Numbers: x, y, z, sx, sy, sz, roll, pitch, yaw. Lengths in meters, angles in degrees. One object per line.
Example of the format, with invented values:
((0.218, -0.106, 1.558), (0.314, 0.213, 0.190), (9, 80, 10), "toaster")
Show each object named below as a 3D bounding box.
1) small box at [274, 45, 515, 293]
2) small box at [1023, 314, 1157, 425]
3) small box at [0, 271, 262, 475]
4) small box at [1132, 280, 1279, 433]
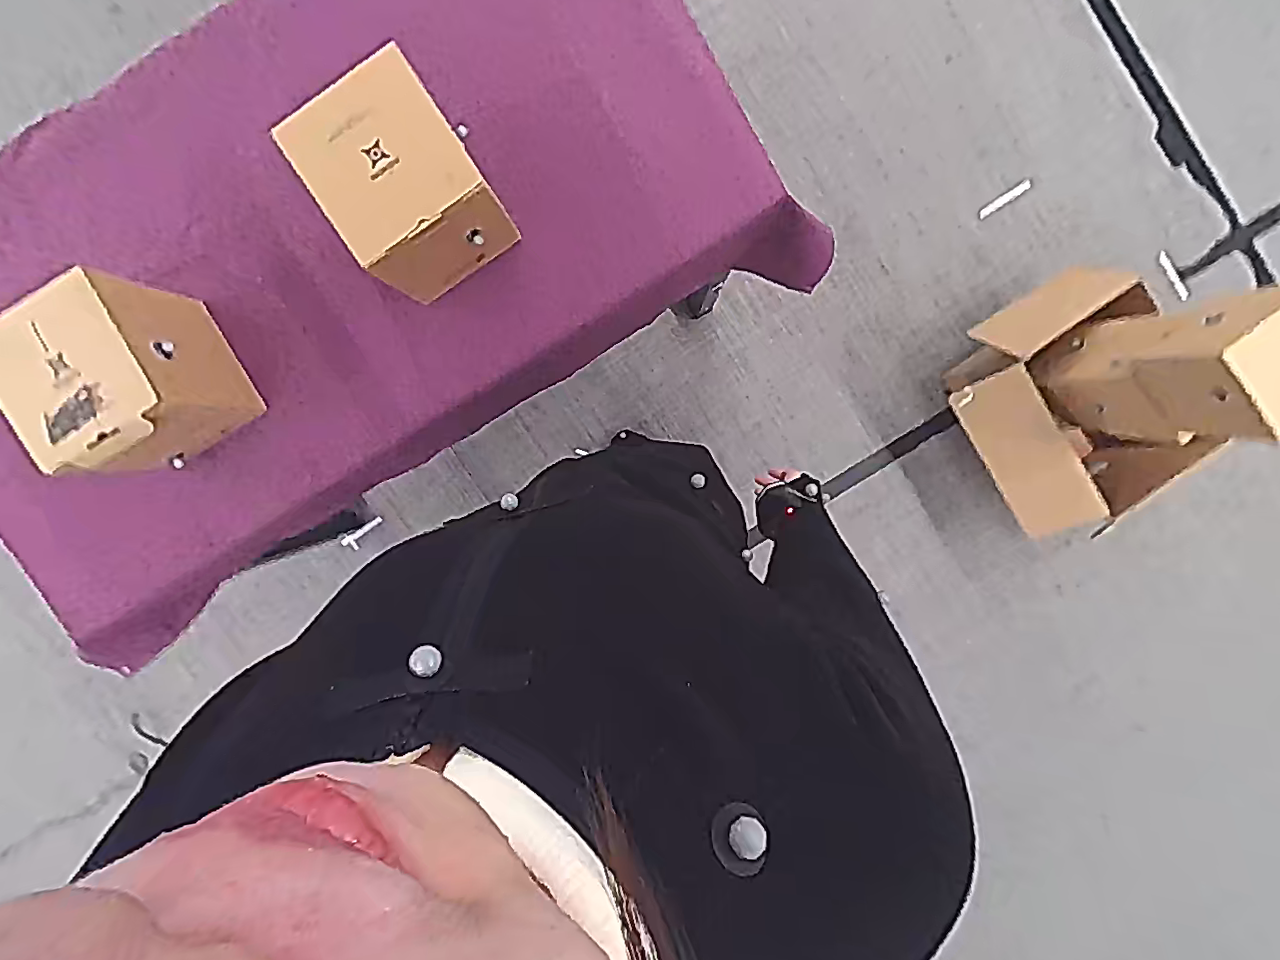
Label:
((-0.277, -0.351, 0.657), (0.168, 0.176, 0.179), (-33, 93, 3), "small box")
((1.007, -0.237, 1.193), (0.179, 0.176, 0.168), (35, 98, -5), "small box")
((-0.634, -0.125, 0.681), (0.168, 0.176, 0.179), (-30, 93, 3), "small box")
((0.964, -0.196, 0.868), (0.168, 0.176, 0.179), (-40, 97, 8), "small box")
